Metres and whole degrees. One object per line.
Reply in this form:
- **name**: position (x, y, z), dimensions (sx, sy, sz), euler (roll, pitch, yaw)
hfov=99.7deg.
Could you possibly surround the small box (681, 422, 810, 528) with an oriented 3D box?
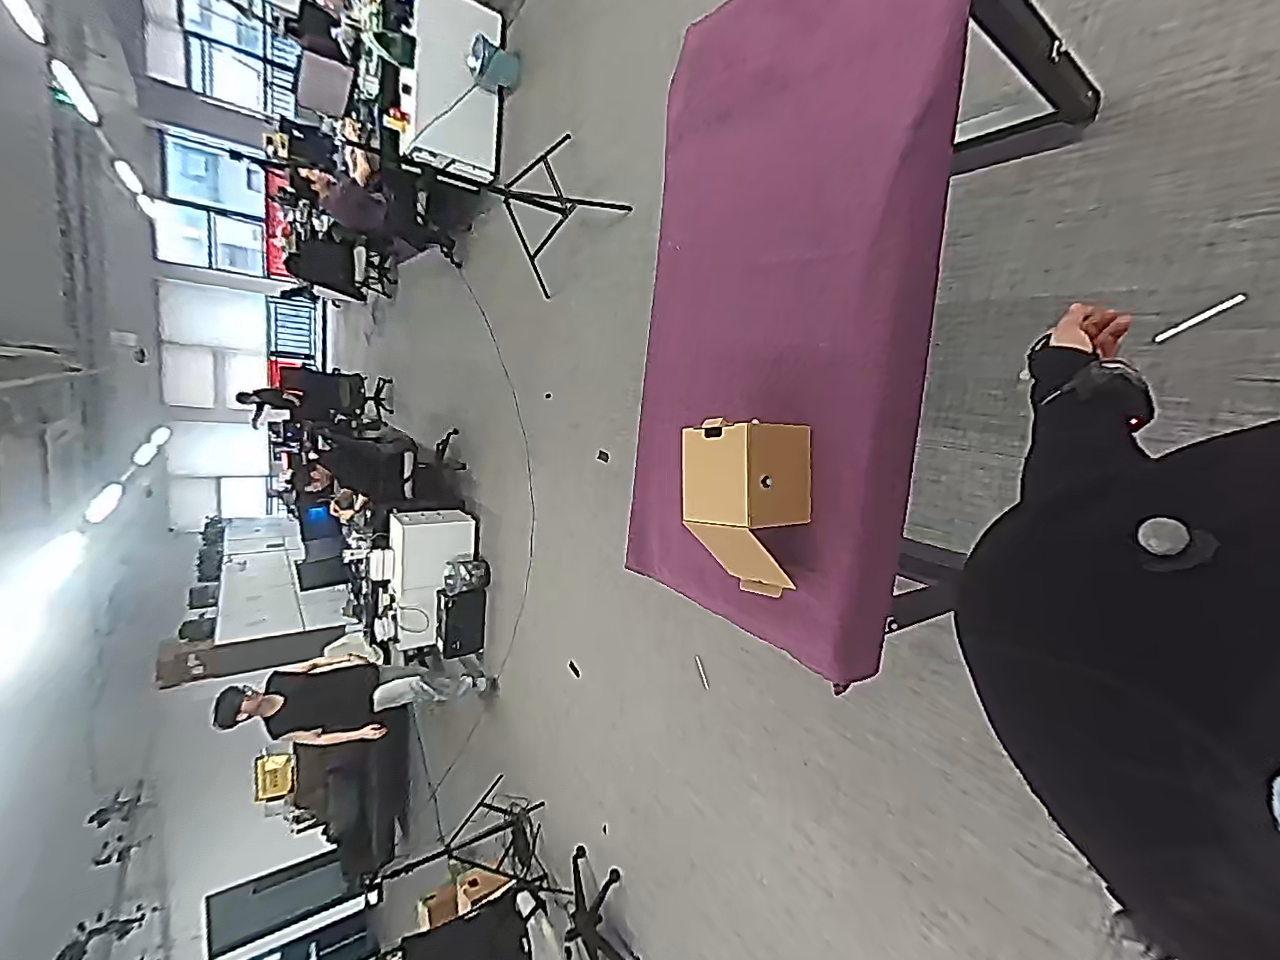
- **small box**: position (0.192, -0.012, 0.983), dimensions (0.168, 0.176, 0.179), euler (2, 92, 54)
